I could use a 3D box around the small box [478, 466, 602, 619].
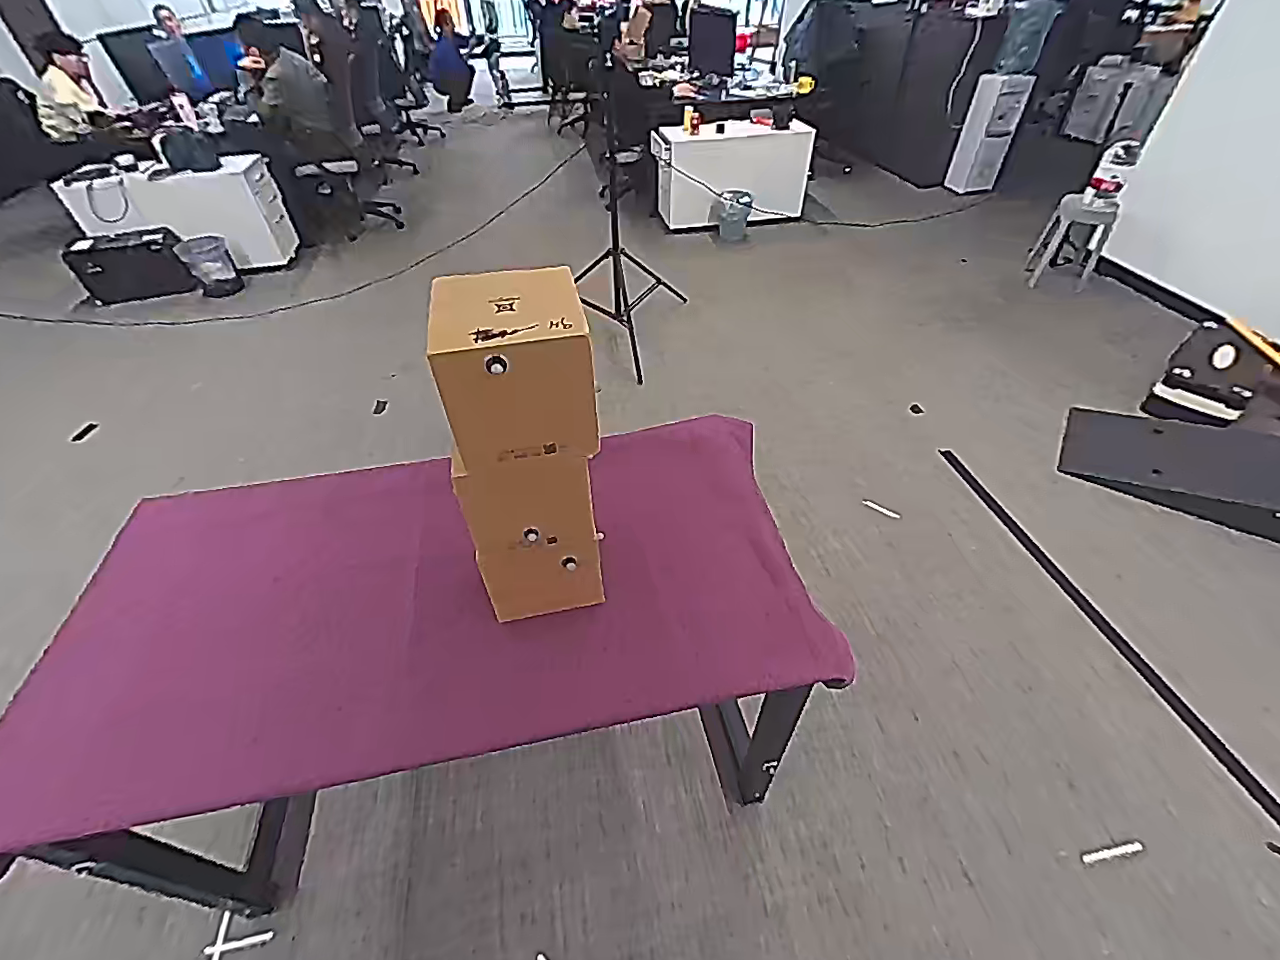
[{"bbox_3d":[-0.159,0.104,0.885,0.179,0.176,0.168,-10,44,-8],"label":"small box"}]

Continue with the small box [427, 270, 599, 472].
[{"bbox_3d":[-0.147,-0.134,0.659,0.168,0.176,0.179,-10,44,-8],"label":"small box"}]
